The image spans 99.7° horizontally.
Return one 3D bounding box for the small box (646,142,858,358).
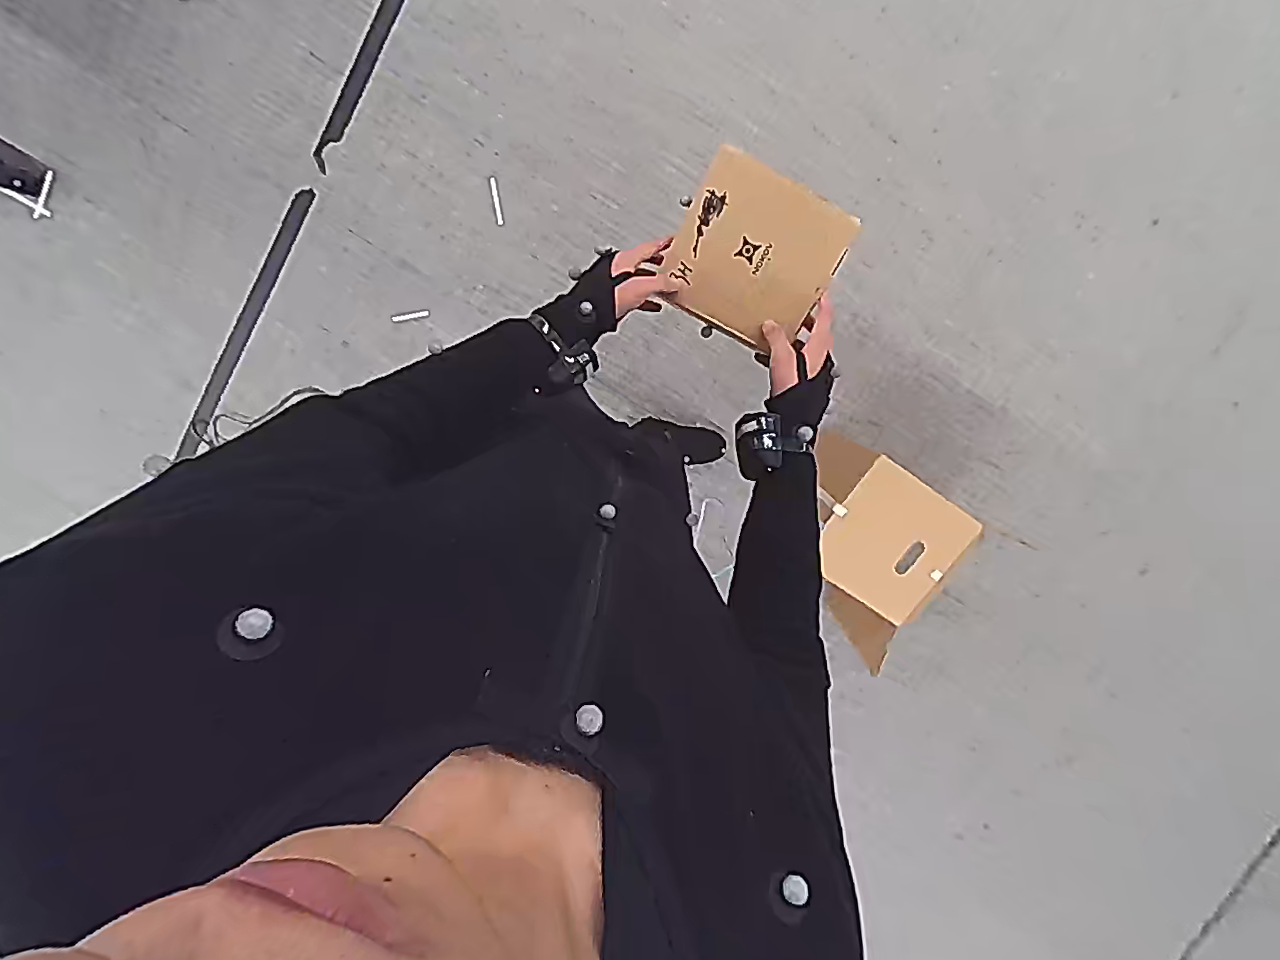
[{"bbox_3d":[0.124,-0.268,0.664,0.179,0.176,0.168,28,105,-4],"label":"small box"}]
